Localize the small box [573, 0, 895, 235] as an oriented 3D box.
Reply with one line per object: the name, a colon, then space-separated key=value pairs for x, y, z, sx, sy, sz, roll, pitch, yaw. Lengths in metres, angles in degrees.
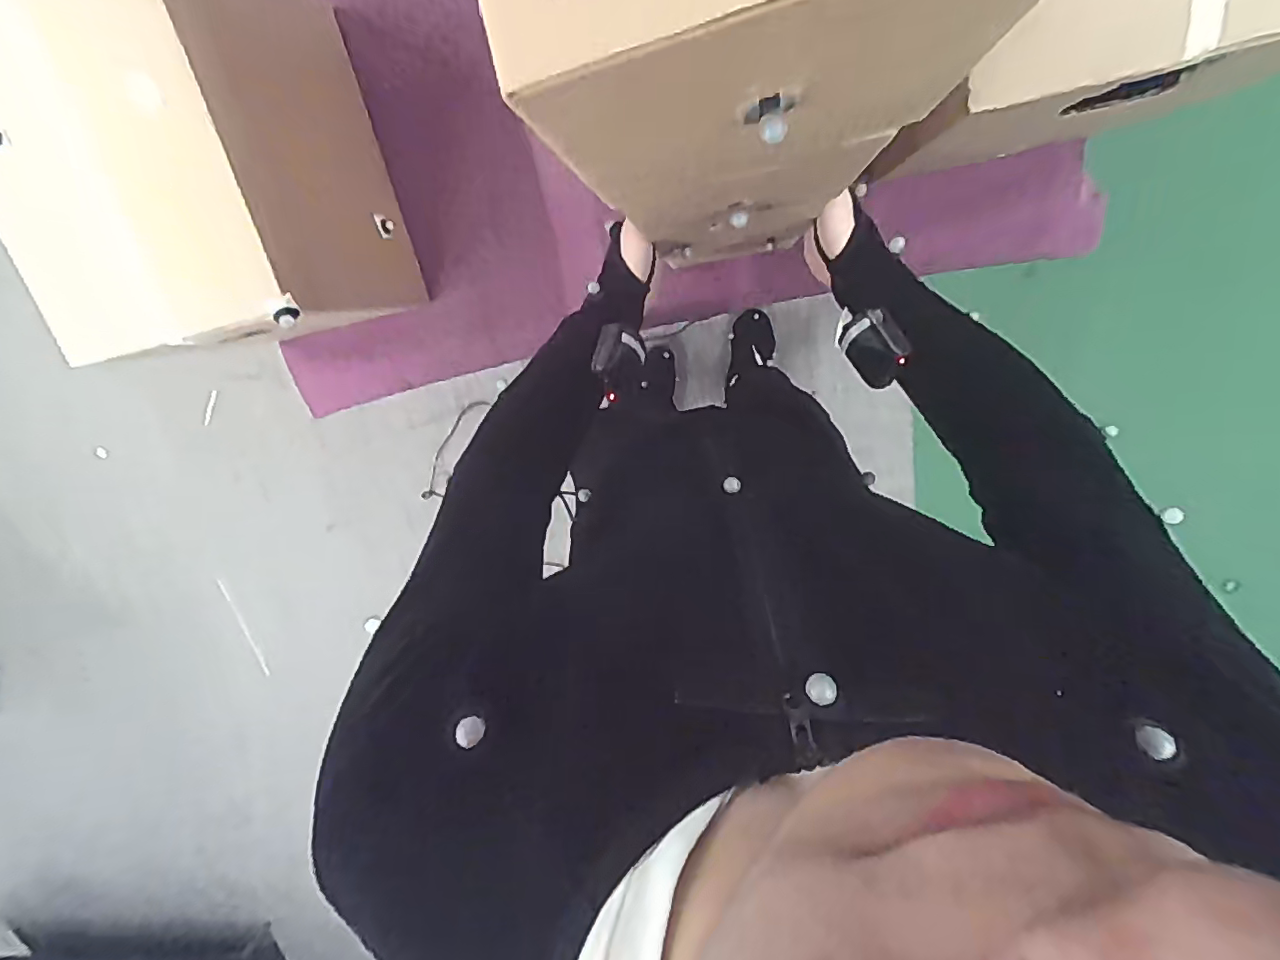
small box: x=0.055 y=-0.279 z=0.356 sx=0.168 sy=0.176 sz=0.179 roll=-6 pitch=105 yaw=11

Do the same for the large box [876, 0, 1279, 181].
large box: x=0.400 y=-0.549 z=0.491 sx=0.320 sy=0.320 sz=0.408 roll=-7 pitch=109 yaw=13

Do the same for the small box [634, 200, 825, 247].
small box: x=0.078 y=-0.327 z=0.511 sx=0.168 sy=0.176 sz=0.179 roll=-5 pitch=105 yaw=9
